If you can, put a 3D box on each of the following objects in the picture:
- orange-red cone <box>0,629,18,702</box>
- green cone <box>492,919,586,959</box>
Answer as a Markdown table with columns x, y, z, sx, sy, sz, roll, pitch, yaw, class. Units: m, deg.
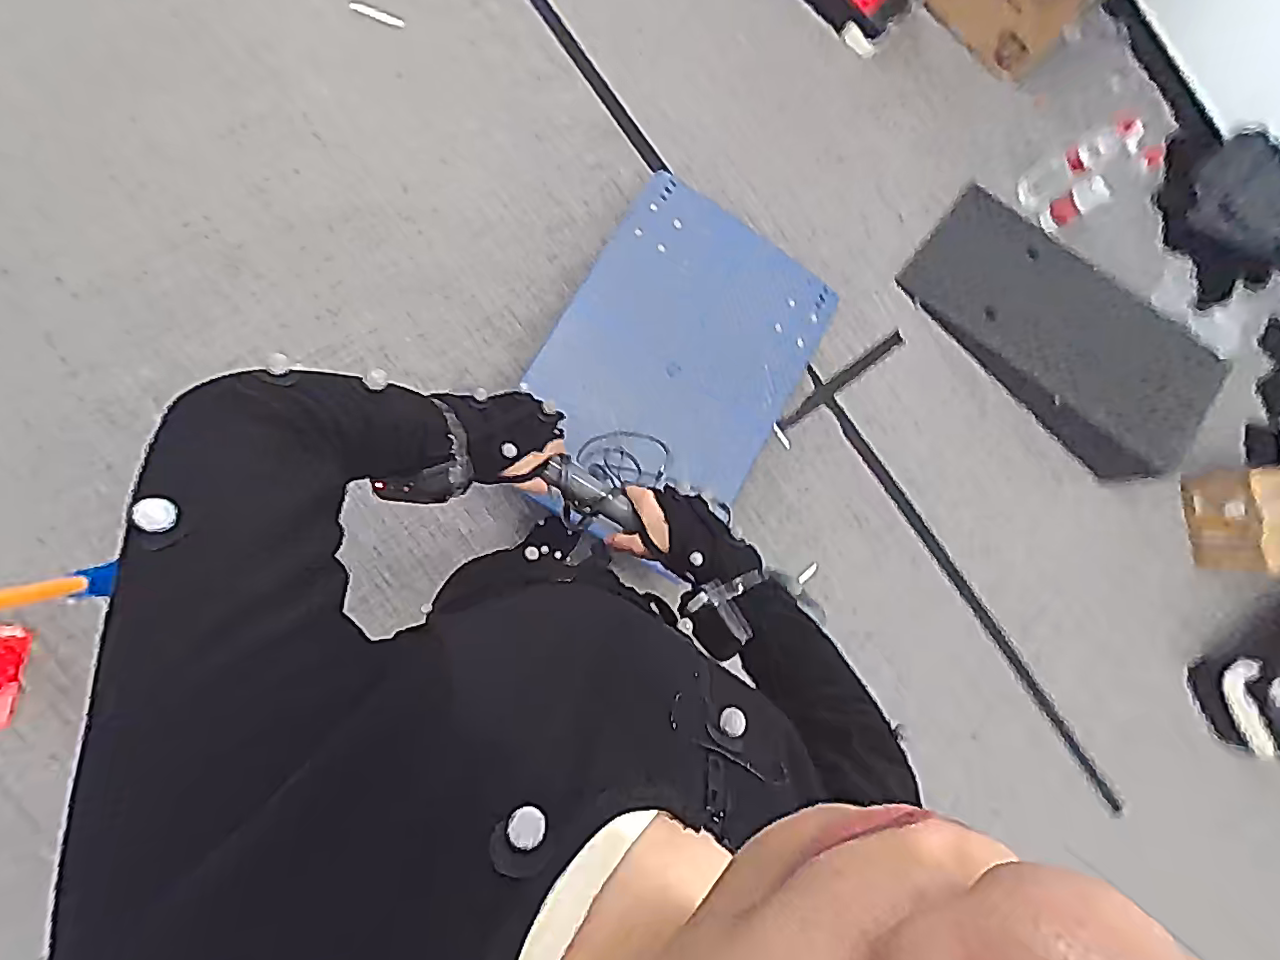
| x | y | z | sx | sy | sz | roll | pitch | yaw | class |
| --- | --- | --- | --- | --- | --- | --- | --- | --- | --- |
| -1.320 | 0.368 | 0.895 | 0.199 | 0.360 | 0.198 | 11 | 83 | -13 | orange-red cone |
| -0.214 | 1.121 | 1.066 | 0.200 | 0.368 | 0.202 | 41 | 78 | -6 | green cone |
